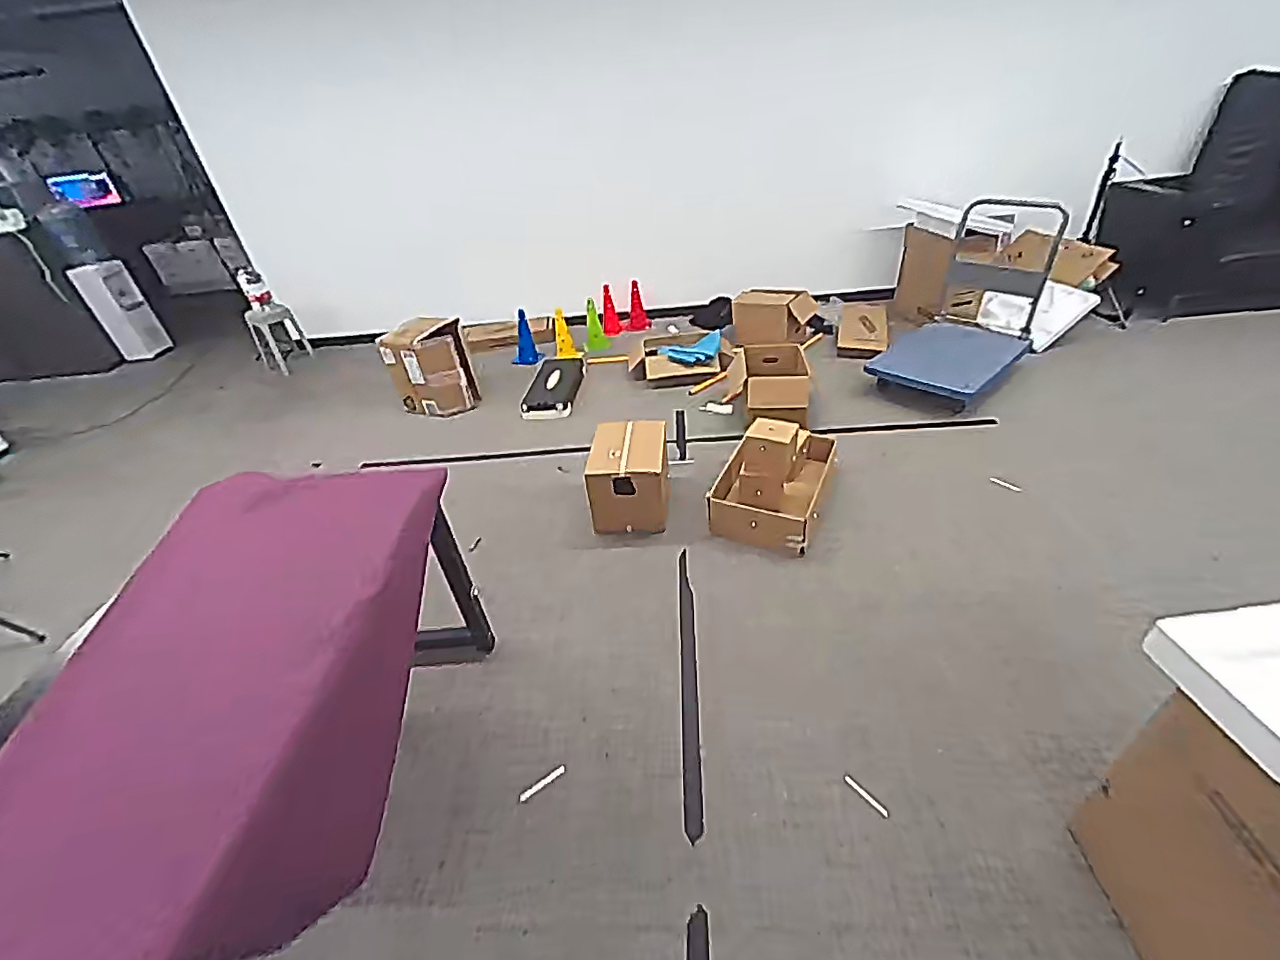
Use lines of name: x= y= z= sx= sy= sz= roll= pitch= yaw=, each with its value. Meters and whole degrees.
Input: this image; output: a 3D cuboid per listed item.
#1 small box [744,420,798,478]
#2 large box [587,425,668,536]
small box: x=0.532 y=-0.126 z=2.205 sx=0.179 sy=0.176 sz=0.168 roll=13 pitch=38 yaw=24
large box: x=-0.038 y=-0.004 z=2.374 sx=0.320 sy=0.320 sz=0.408 roll=-3 pitch=37 yaw=7
